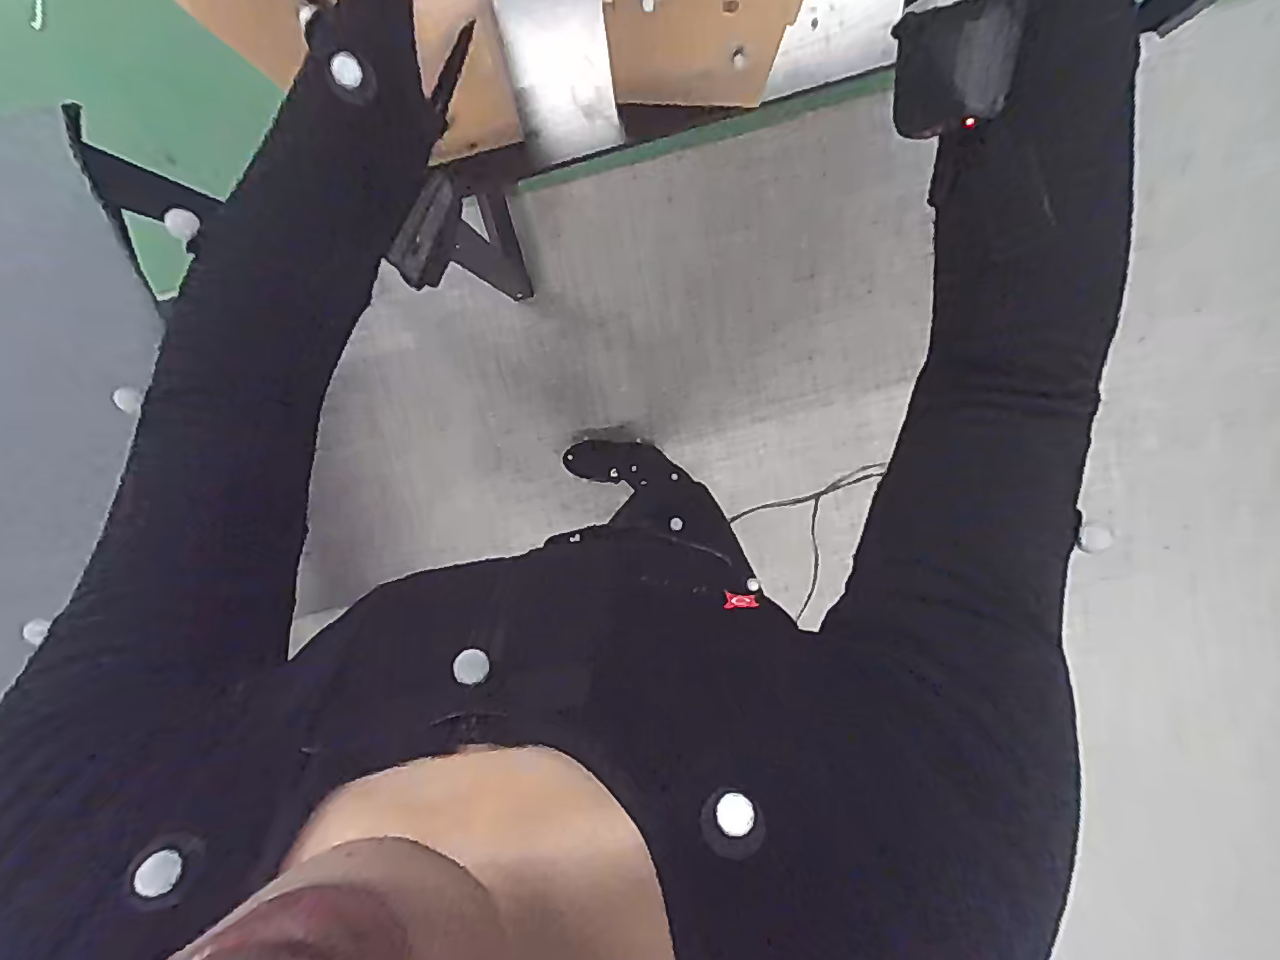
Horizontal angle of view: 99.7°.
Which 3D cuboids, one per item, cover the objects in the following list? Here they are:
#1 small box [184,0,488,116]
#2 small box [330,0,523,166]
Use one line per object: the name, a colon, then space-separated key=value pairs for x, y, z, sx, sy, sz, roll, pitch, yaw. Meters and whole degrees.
small box: x=-0.231 y=-0.422 z=0.413 sx=0.179 sy=0.176 sz=0.168 roll=-14 pitch=99 yaw=4
small box: x=-0.237 y=-0.461 z=0.571 sx=0.168 sy=0.176 sz=0.179 roll=-14 pitch=98 yaw=3
